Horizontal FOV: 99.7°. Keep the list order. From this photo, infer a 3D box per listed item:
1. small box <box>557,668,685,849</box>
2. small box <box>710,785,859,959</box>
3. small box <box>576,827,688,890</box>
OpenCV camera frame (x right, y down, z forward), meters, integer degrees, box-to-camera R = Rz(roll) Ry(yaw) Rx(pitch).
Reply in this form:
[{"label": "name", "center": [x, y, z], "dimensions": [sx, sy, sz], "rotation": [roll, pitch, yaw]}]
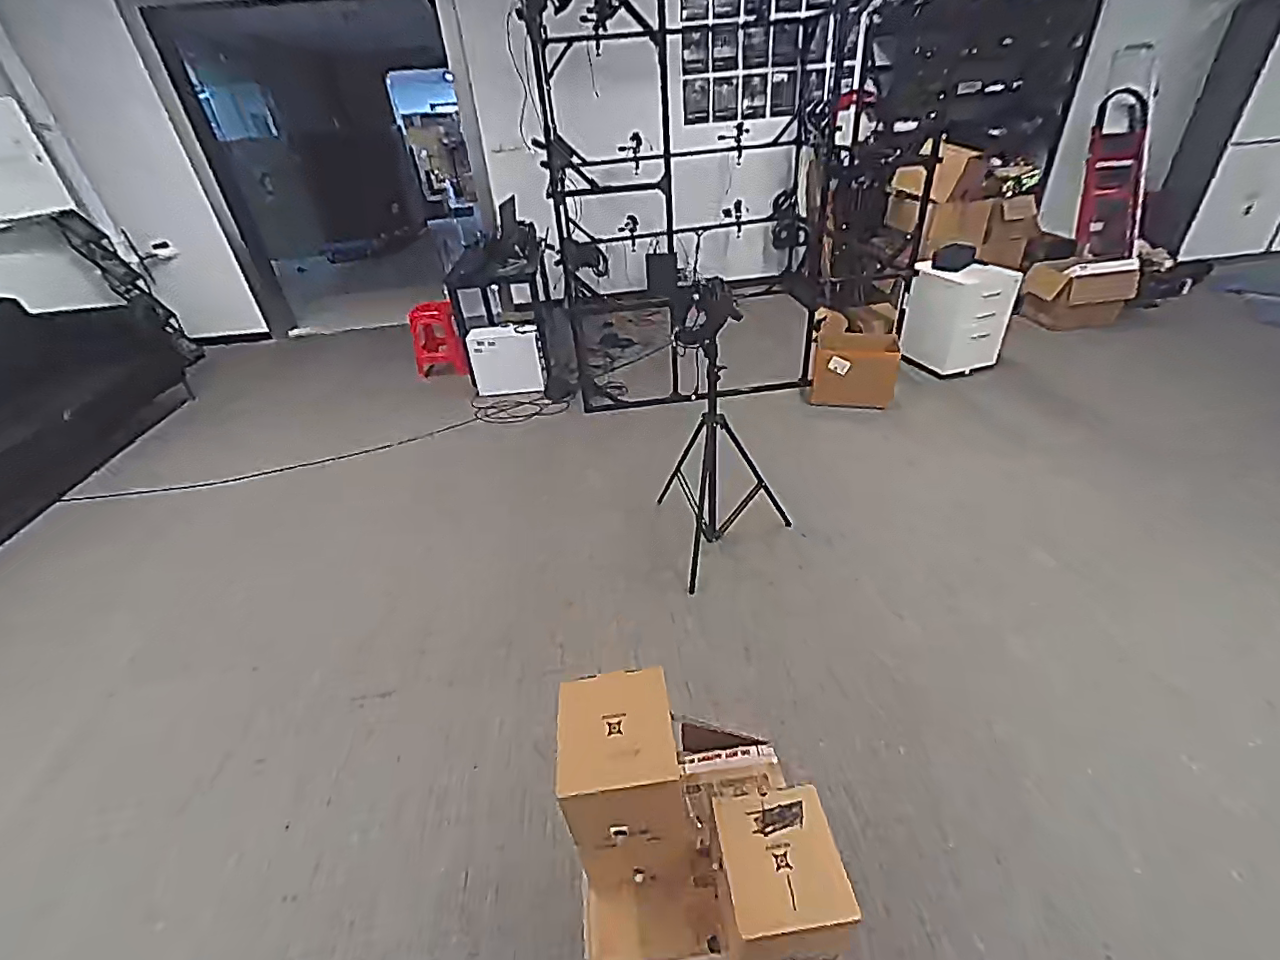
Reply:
[{"label": "small box", "center": [-0.028, 0.419, 0.819], "dimensions": [0.168, 0.176, 0.179], "rotation": [-9, 36, -1]}, {"label": "small box", "center": [0.203, 0.600, 0.817], "dimensions": [0.168, 0.176, 0.179], "rotation": [-7, 36, -3]}, {"label": "small box", "center": [-0.015, 0.550, 0.913], "dimensions": [0.168, 0.176, 0.179], "rotation": [-8, 35, -2]}]
